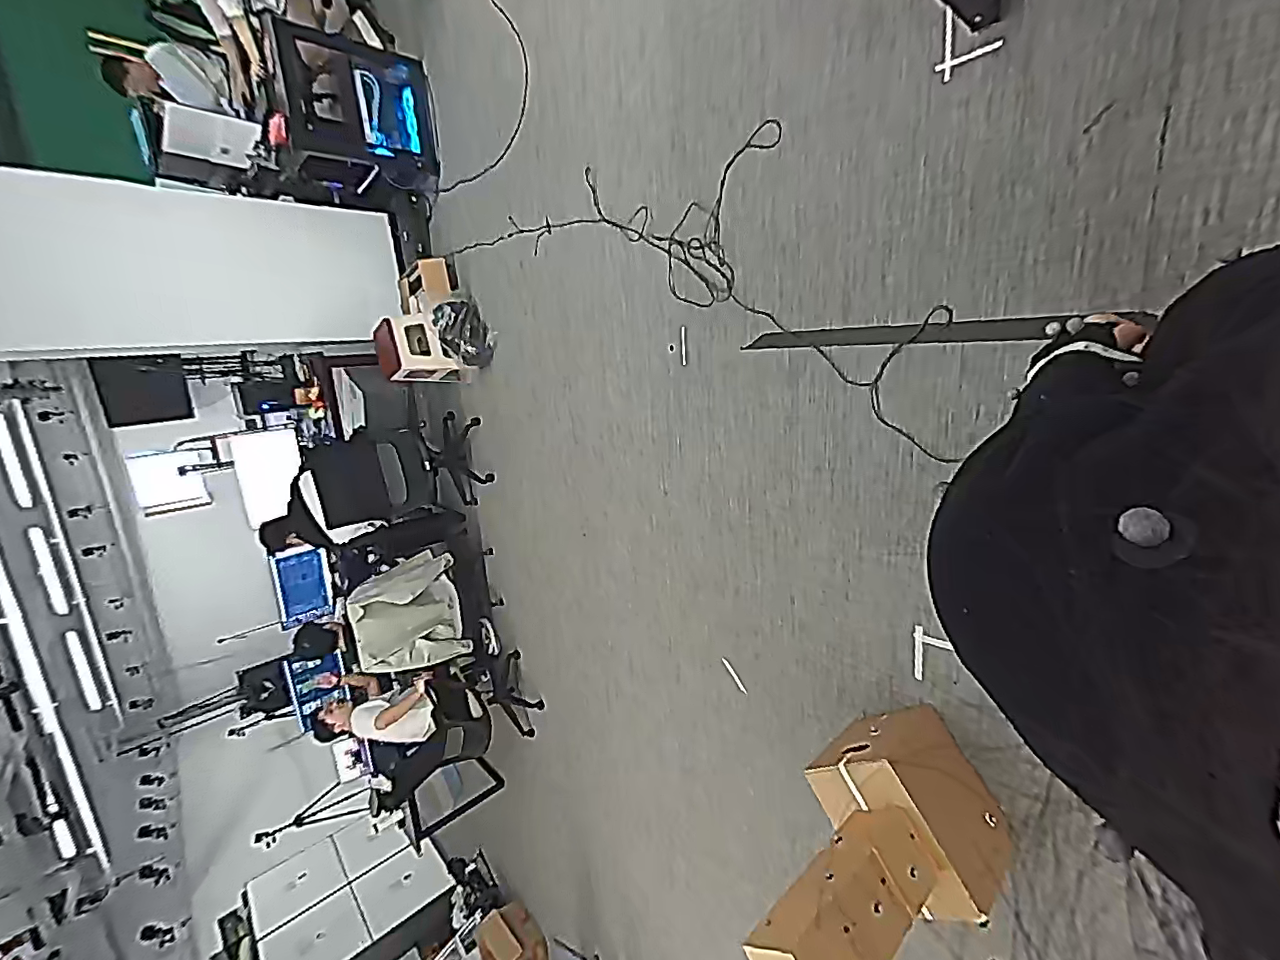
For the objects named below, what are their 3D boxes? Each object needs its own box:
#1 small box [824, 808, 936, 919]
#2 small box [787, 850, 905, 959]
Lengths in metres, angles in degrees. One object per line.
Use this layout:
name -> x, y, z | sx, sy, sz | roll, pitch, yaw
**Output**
small box -> 0.613, 0.959, 1.366 | 0.168, 0.176, 0.179 | 60, 139, 16
small box -> 0.489, 1.000, 1.267 | 0.179, 0.176, 0.168 | -46, 66, 46
